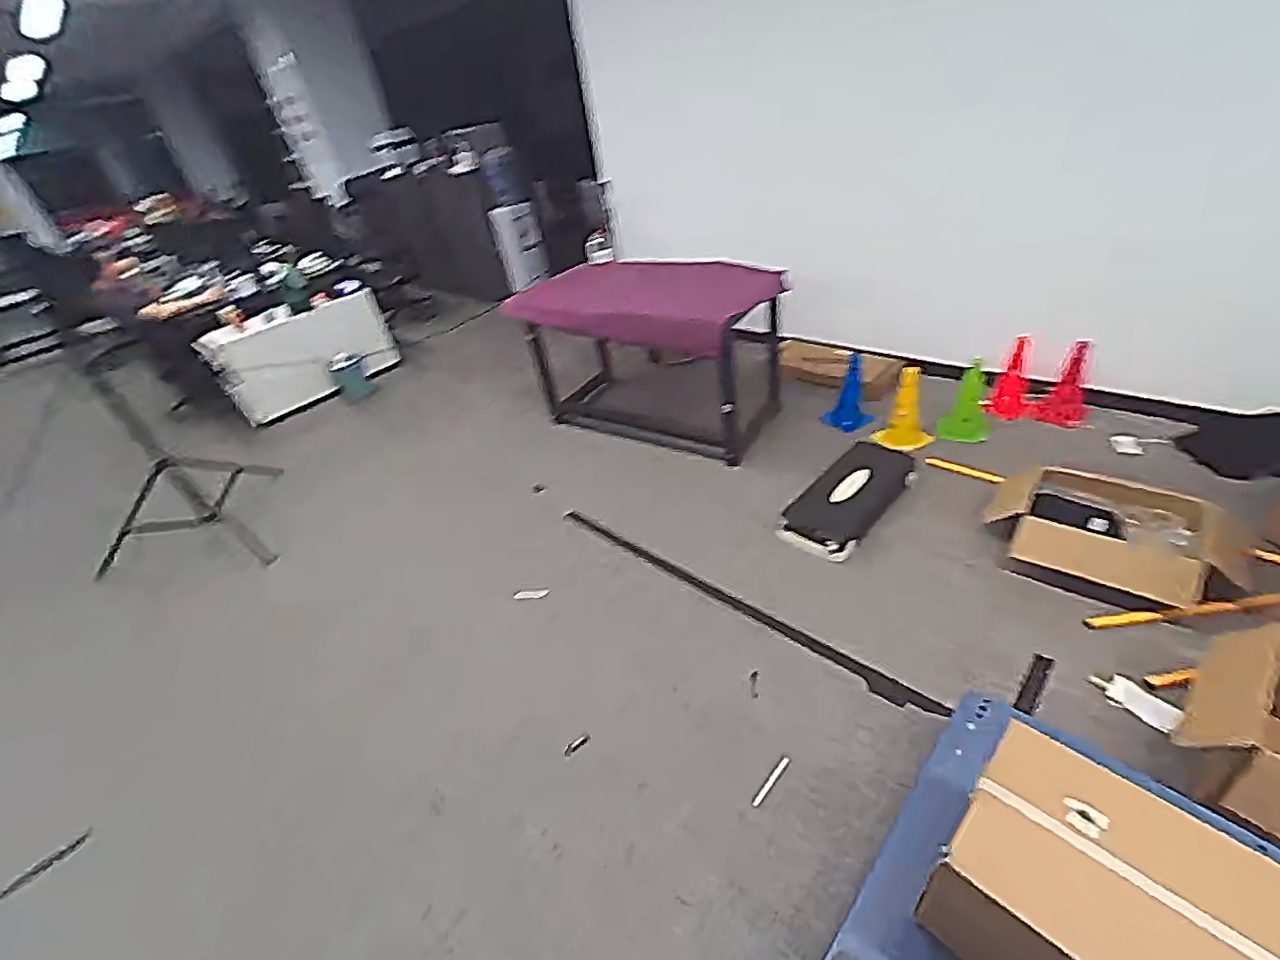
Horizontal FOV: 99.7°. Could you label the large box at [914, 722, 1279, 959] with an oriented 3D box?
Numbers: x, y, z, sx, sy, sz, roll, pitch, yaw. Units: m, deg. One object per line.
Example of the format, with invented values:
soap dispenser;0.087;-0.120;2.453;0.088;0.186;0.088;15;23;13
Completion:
large box;0.747;0.715;0.909;0.320;0.320;0.408;-35;42;-31
